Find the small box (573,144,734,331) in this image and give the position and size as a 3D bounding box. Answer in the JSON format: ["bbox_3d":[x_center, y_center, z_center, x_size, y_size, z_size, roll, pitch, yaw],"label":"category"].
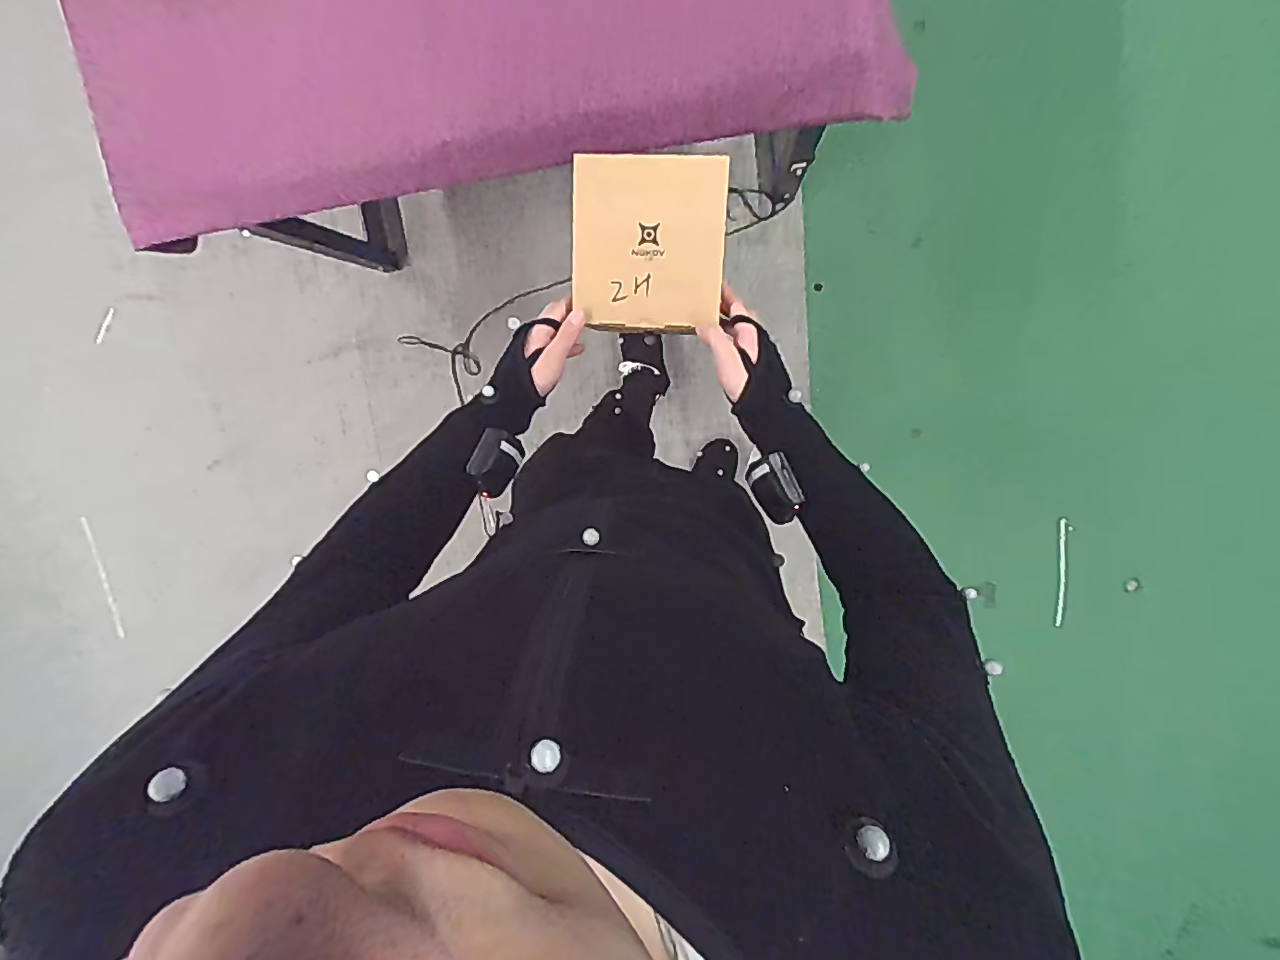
[{"bbox_3d":[0.017,-0.278,0.655,0.168,0.176,0.179,4,103,4],"label":"small box"}]
